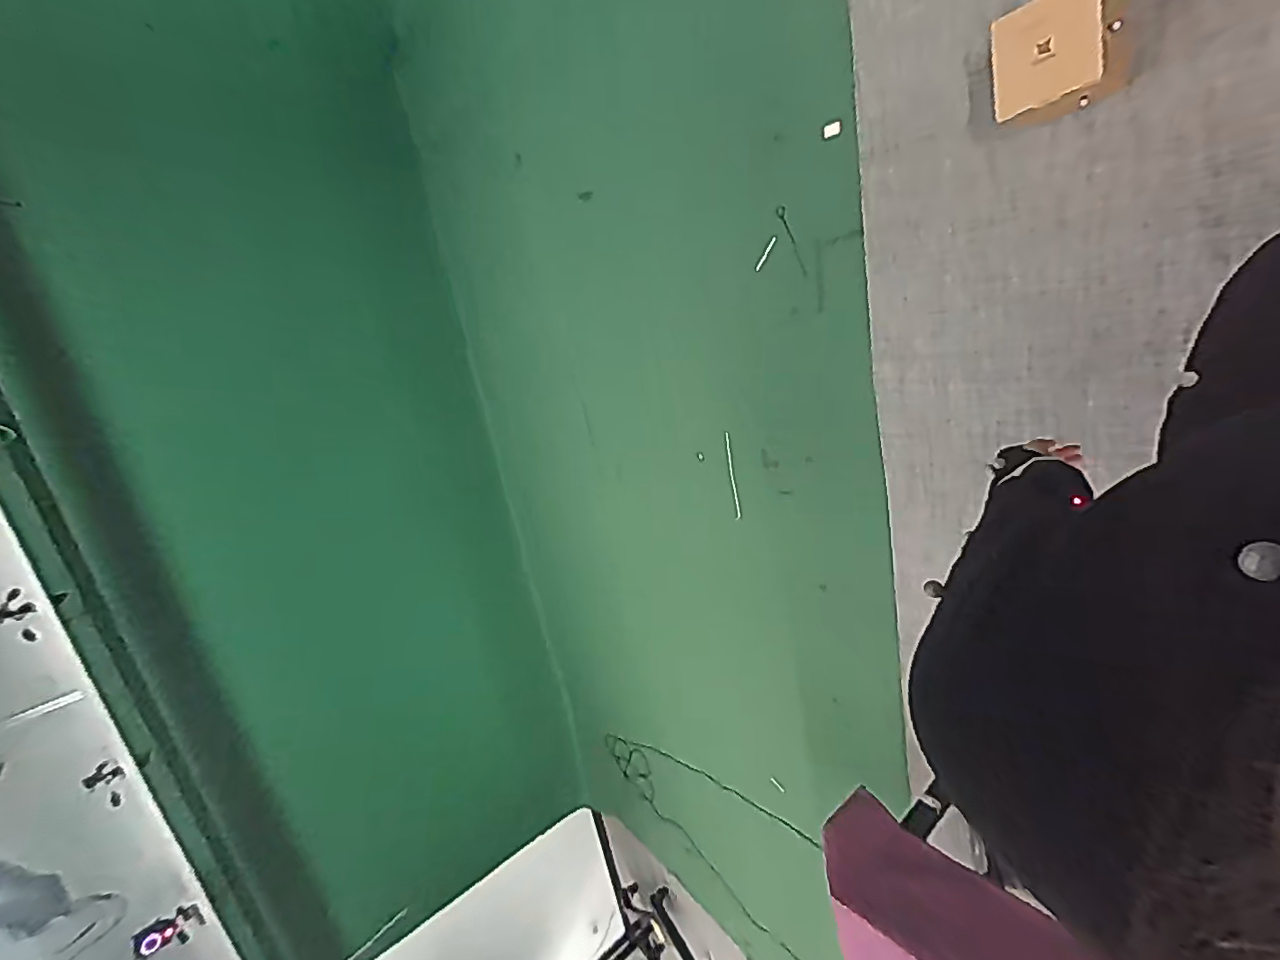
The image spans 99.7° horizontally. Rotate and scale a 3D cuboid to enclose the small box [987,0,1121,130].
[{"bbox_3d":[0.792,-0.797,1.033,0.168,0.176,0.179,6,112,53],"label":"small box"}]
